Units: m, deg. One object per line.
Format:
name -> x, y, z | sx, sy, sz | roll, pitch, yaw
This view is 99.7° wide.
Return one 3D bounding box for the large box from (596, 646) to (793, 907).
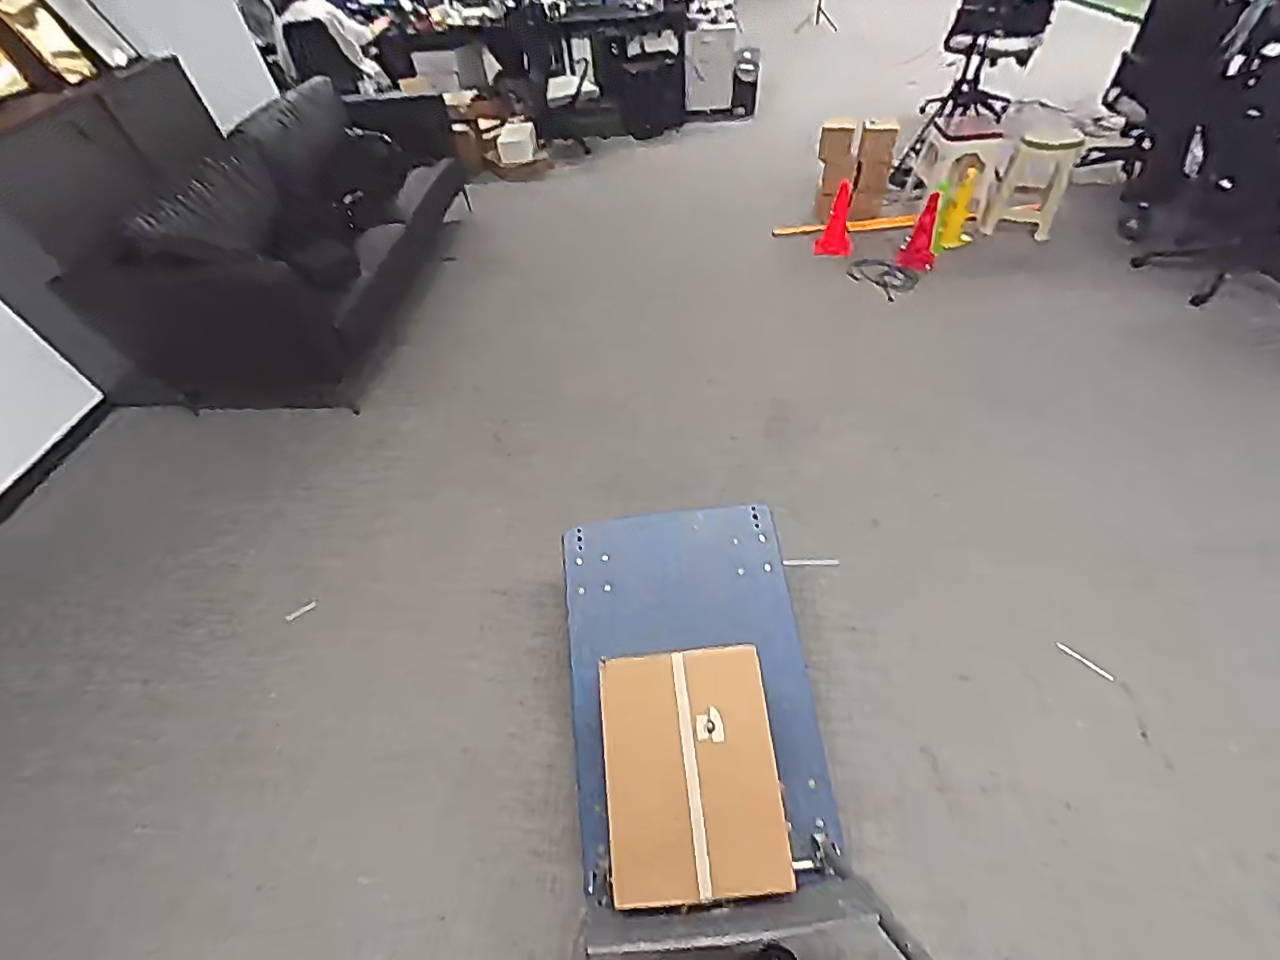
large box -> 0.097, 0.586, 1.130 | 0.320, 0.320, 0.408 | -7, 67, 0
